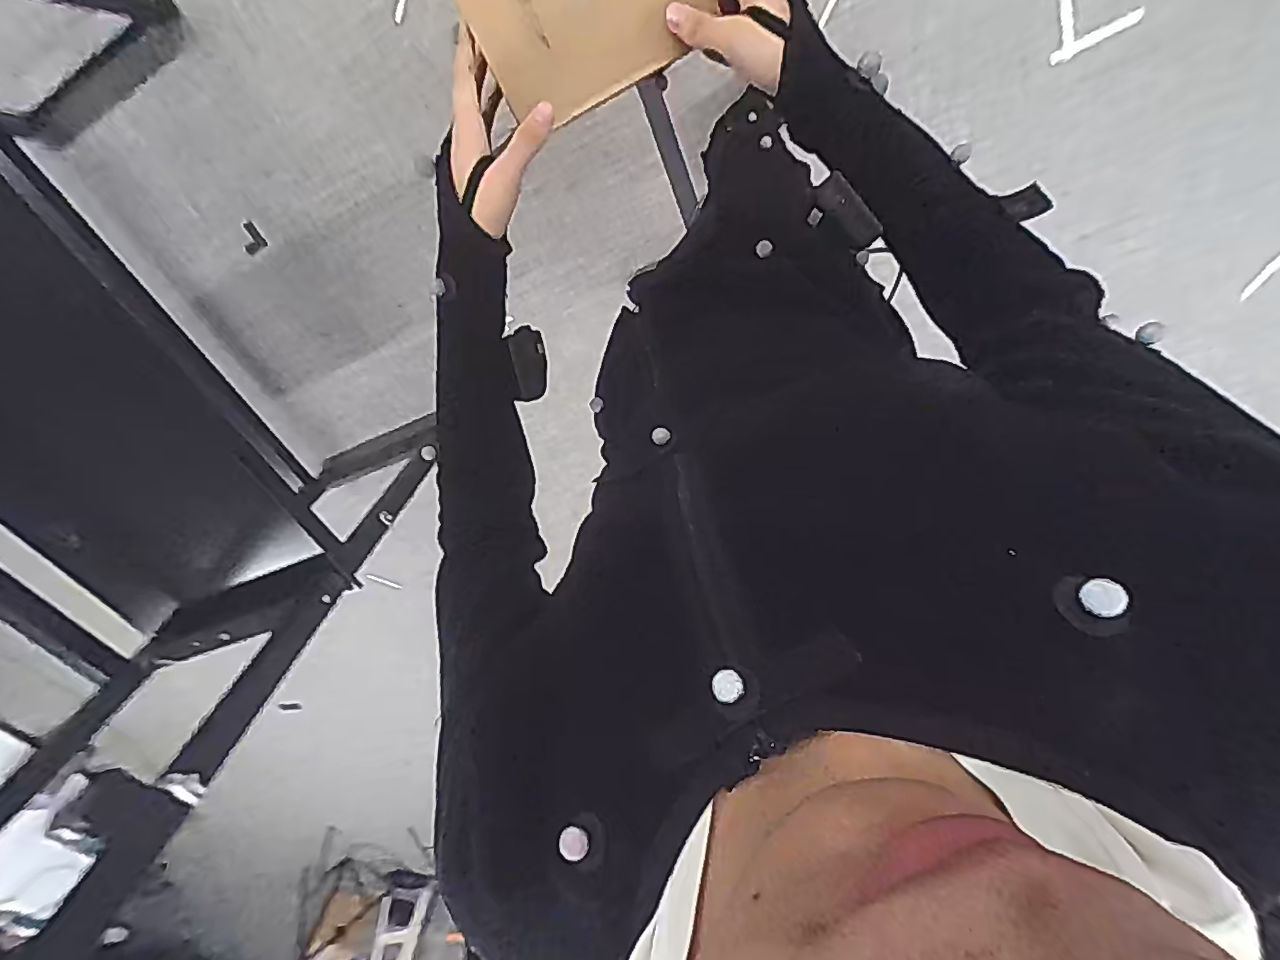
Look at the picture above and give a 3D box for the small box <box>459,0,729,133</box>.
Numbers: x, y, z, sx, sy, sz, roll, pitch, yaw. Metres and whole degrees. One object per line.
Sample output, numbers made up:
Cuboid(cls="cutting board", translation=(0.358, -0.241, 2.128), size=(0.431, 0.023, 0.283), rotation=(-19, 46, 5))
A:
Cuboid(cls="small box", translation=(-0.056, -0.407, 0.433), size=(0.179, 0.176, 0.168), rotation=(-26, 121, 4))
